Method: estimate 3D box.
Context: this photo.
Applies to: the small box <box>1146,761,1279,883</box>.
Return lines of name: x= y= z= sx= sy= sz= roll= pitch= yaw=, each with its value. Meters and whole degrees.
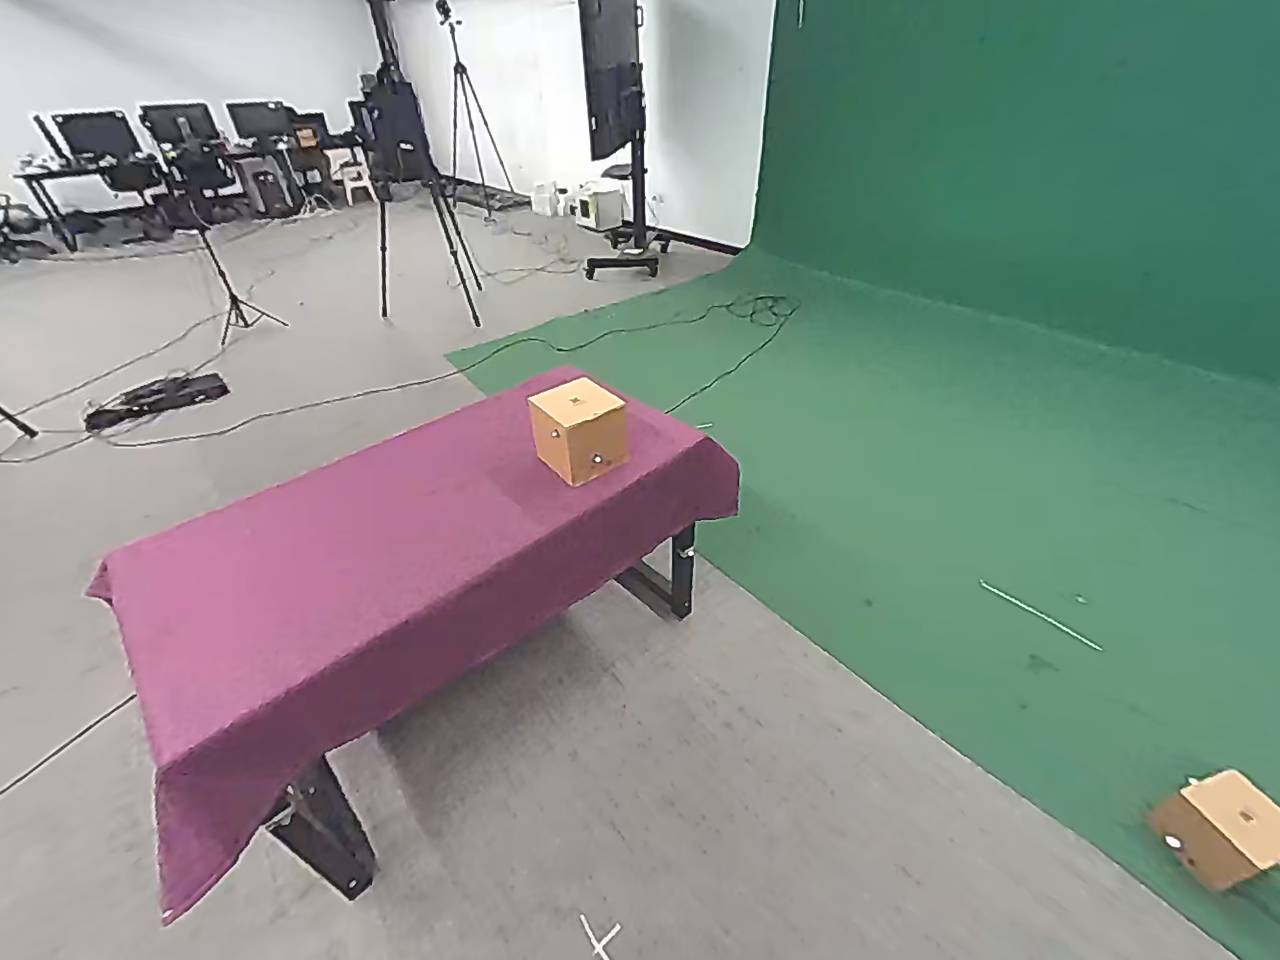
small box: x=1.346 y=0.789 z=1.250 sx=0.179 sy=0.176 sz=0.168 roll=-12 pitch=39 yaw=-12

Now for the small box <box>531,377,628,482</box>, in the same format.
small box: x=-0.144 y=-0.123 z=1.314 sx=0.168 sy=0.176 sz=0.179 roll=-27 pitch=45 yaw=-28
